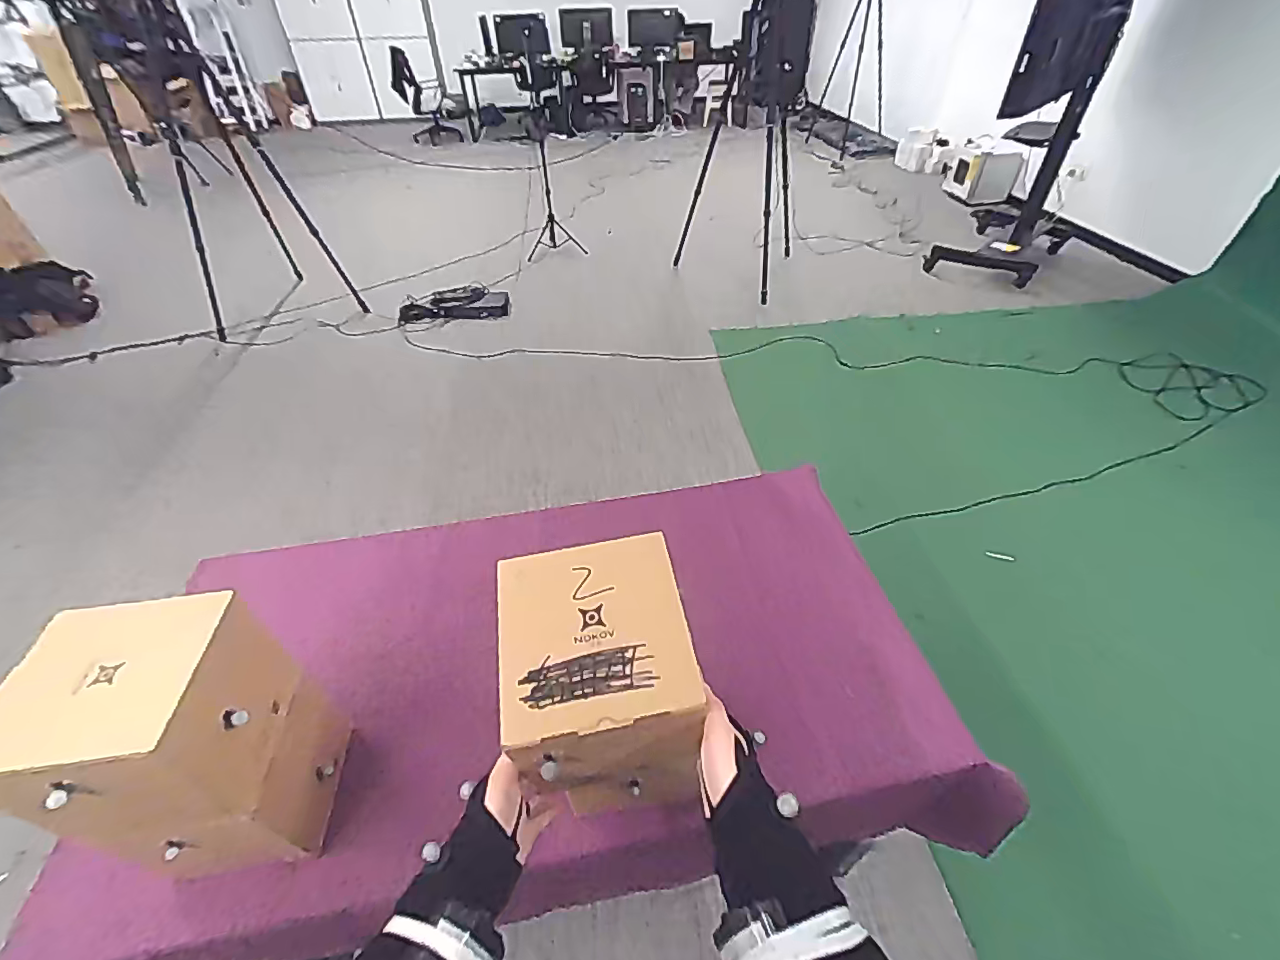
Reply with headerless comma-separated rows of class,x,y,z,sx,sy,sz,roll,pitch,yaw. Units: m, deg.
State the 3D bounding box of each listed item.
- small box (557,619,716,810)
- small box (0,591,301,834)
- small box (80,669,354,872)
small box,-0.009,0.305,0.703,0.179,0.176,0.168,-7,43,-4
small box,-0.491,0.238,0.555,0.179,0.176,0.168,-7,43,-4
small box,-0.491,0.358,0.665,0.179,0.176,0.168,-6,44,-4
